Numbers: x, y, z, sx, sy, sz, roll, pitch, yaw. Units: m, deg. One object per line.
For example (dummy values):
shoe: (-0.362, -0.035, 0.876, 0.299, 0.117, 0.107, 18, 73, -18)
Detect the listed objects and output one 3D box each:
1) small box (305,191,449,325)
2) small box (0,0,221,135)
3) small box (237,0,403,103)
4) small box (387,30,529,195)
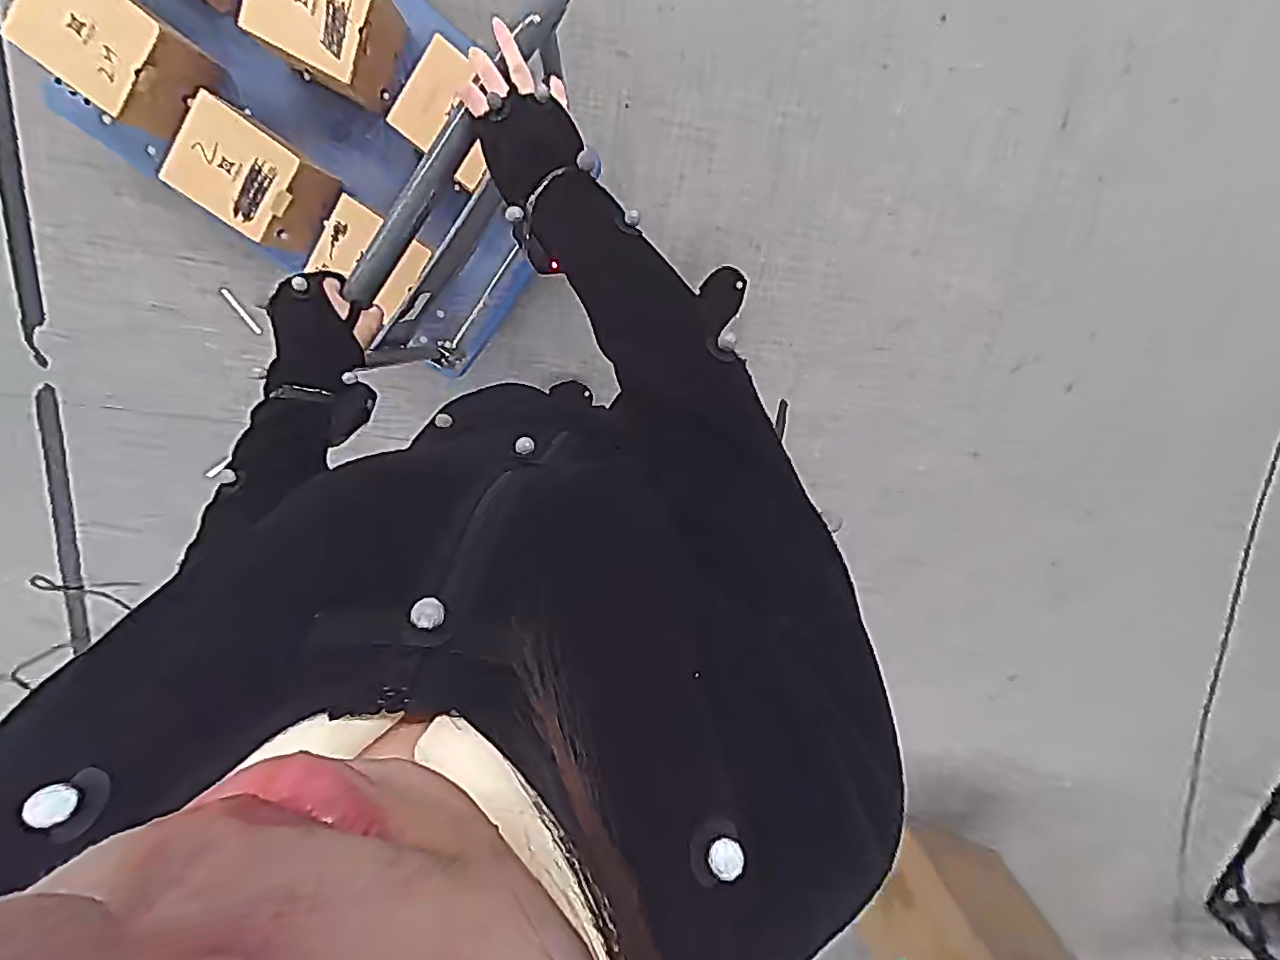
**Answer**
small box: (-0.499, -0.425, 1.055, 0.179, 0.176, 0.168, 31, 101, -16)
small box: (-0.870, -0.724, 0.905, 0.179, 0.176, 0.168, 36, 101, -18)
small box: (-0.534, -0.789, 0.928, 0.179, 0.176, 0.168, 23, 104, -13)
small box: (-0.323, -0.659, 1.001, 0.179, 0.176, 0.168, 35, 101, -16)
